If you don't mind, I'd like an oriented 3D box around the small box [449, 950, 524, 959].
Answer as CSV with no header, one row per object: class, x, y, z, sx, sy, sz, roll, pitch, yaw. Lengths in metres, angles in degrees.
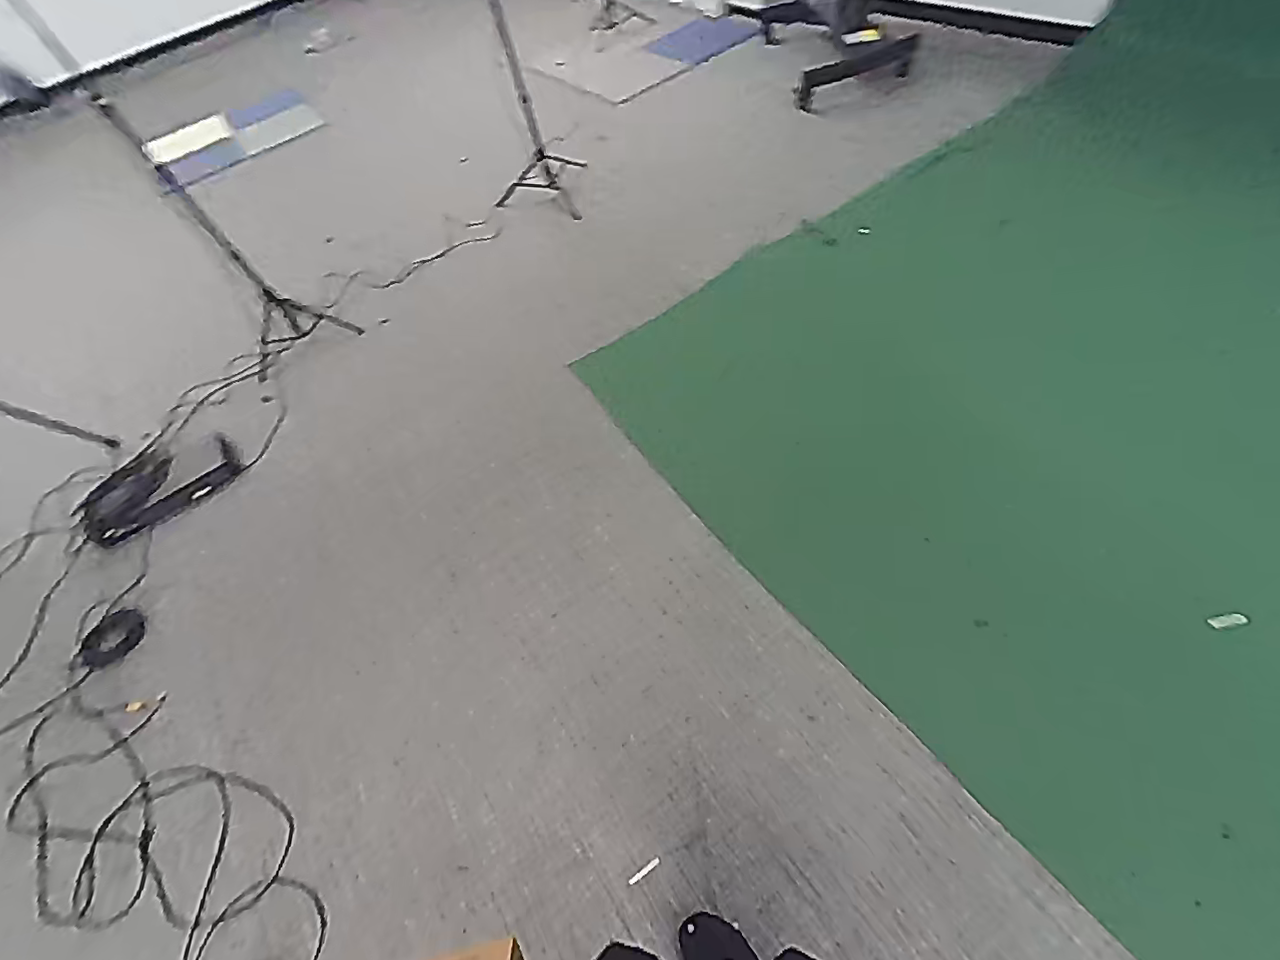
small box,-0.198,0.653,0.575,0.168,0.176,0.179,-15,99,0
